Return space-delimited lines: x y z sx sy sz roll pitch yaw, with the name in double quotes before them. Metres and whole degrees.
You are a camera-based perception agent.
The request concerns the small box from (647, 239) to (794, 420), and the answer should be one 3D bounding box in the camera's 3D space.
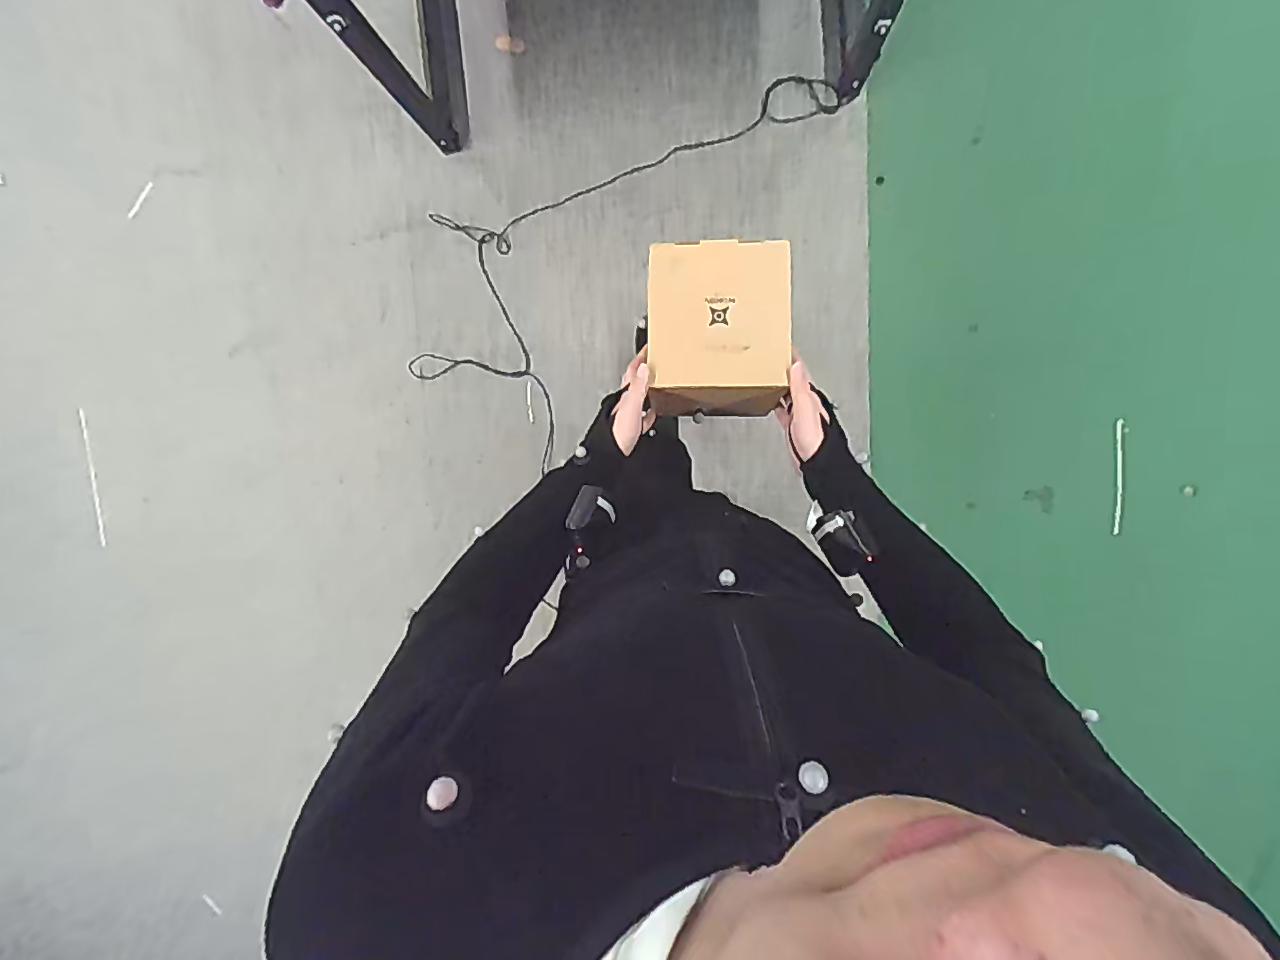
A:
"small box" 0.096 -0.182 0.691 0.168 0.176 0.179 1 85 4
